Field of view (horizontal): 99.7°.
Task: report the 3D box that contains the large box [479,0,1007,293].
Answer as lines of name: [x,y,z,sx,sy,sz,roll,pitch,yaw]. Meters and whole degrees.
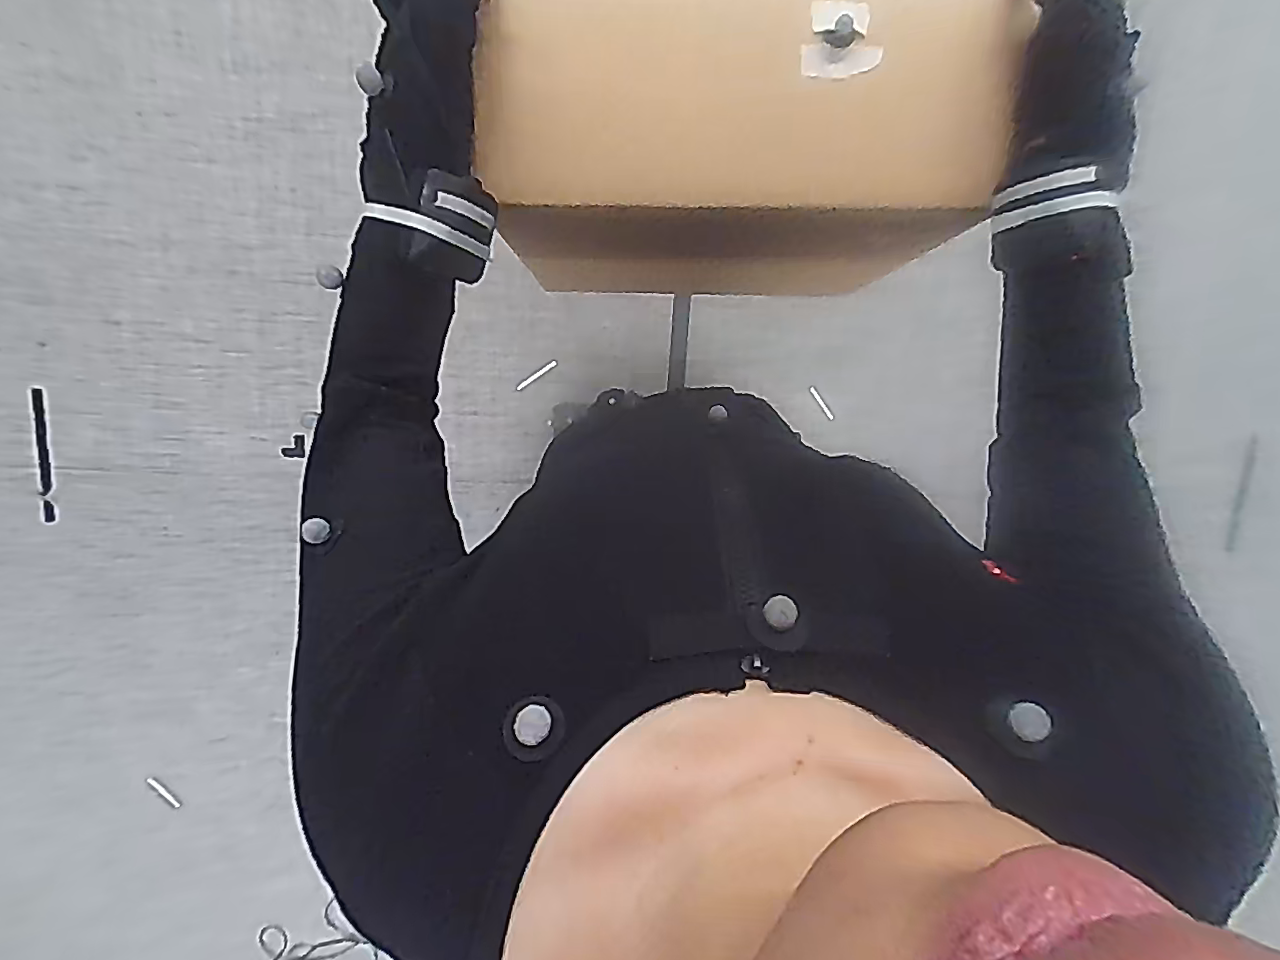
large box: [0.074,-0.385,0.551,0.408,0.320,0.320,0,97,0]

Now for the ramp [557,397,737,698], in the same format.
ramp: [0.002,0.252,1.624,0.509,0.206,0.991,0,100,-2]
